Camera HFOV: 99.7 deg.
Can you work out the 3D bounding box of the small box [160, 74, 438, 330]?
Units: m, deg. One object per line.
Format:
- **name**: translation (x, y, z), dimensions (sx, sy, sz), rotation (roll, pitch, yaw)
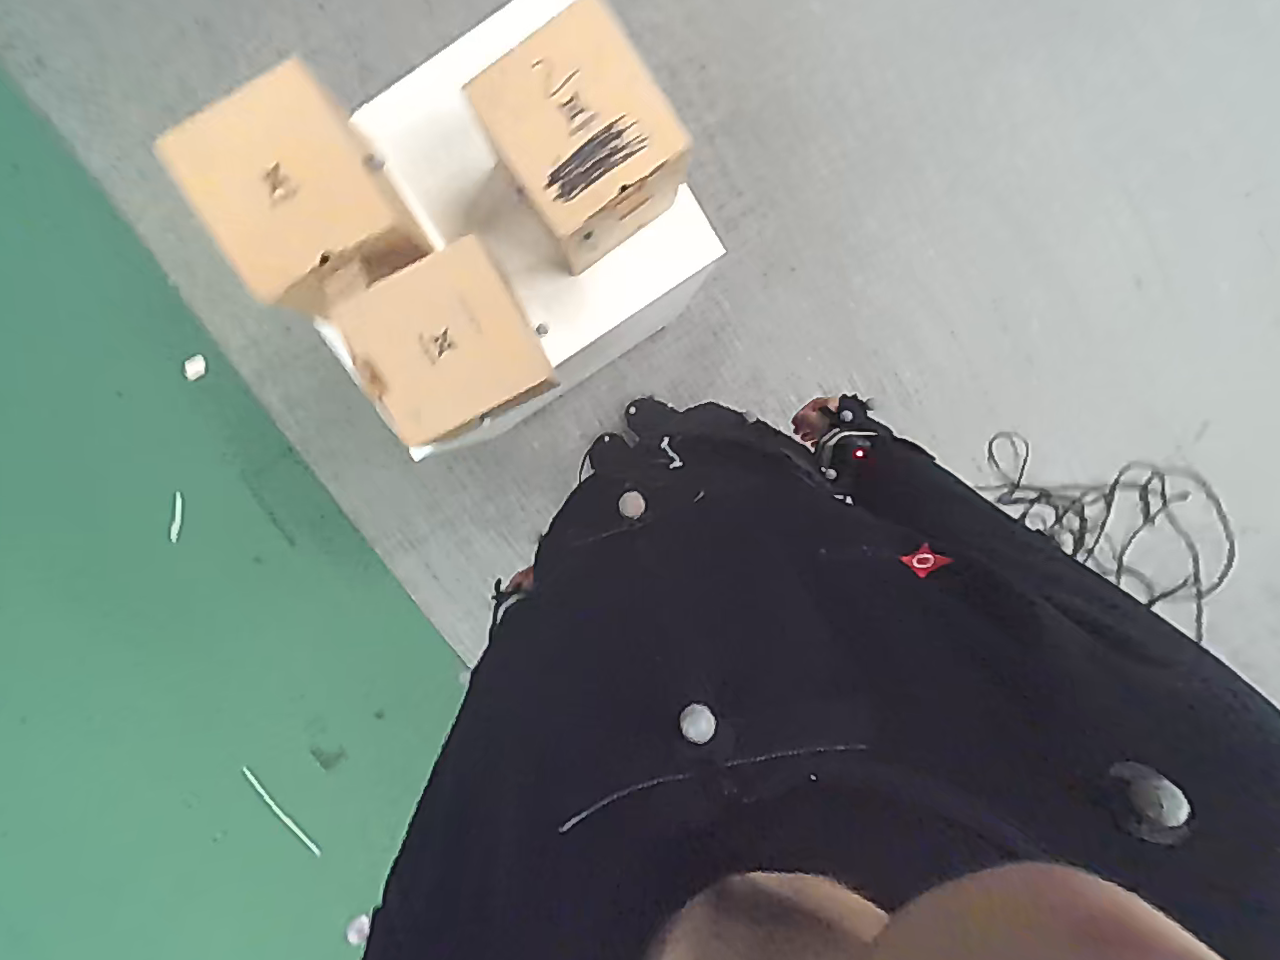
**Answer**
- **small box**: translation (-0.366, -0.295, 0.619), dimensions (0.168, 0.176, 0.179), rotation (-31, 99, 0)
